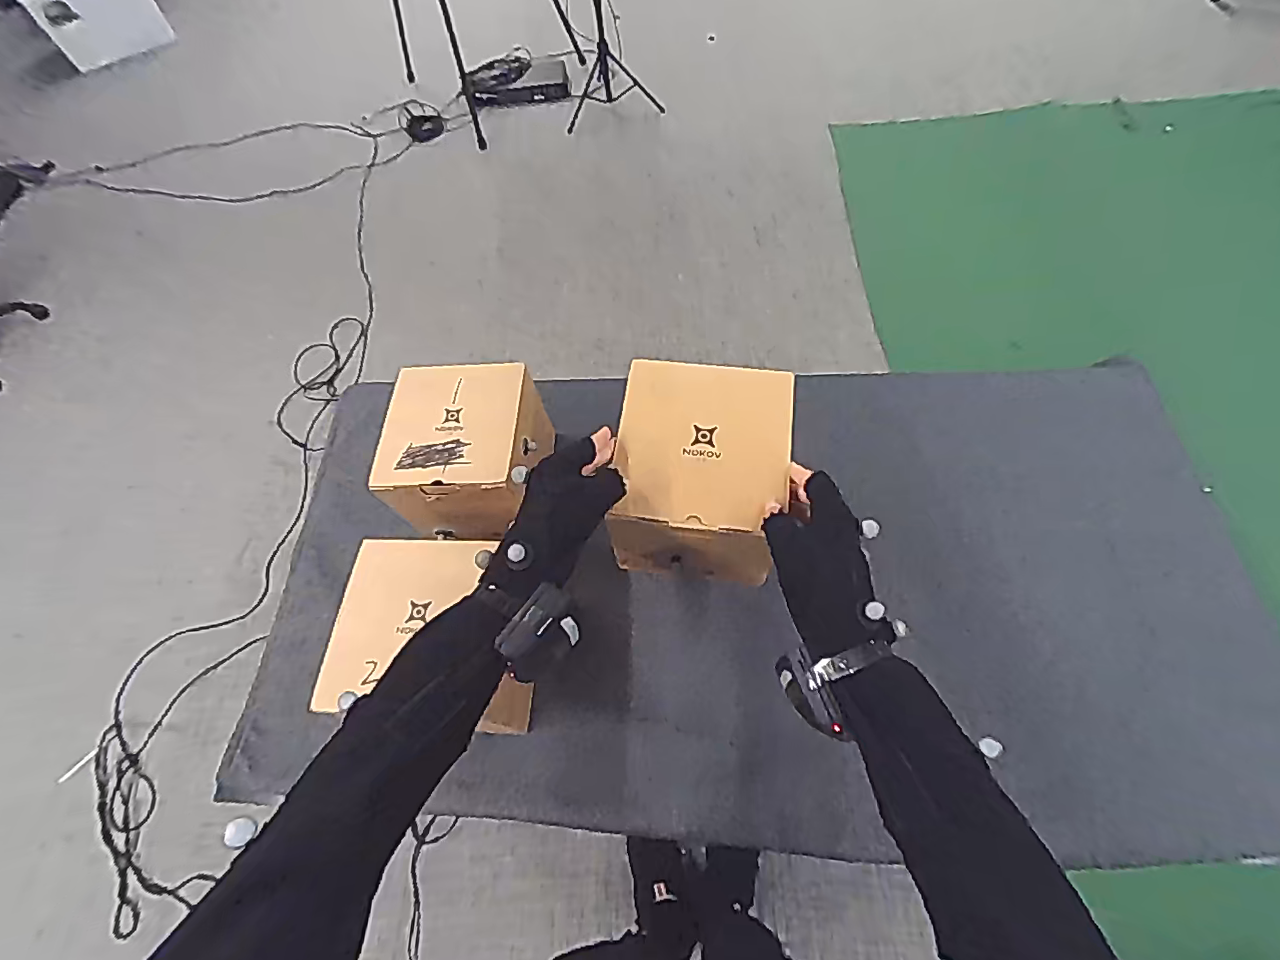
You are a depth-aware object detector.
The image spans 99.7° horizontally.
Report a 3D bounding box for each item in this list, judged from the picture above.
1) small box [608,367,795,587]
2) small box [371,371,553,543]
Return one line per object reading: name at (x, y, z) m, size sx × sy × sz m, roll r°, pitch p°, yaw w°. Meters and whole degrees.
small box at (0.066, 0.003, 0.588) m, size 0.168 × 0.176 × 0.179 m, roll 6°, pitch 66°, yaw 6°
small box at (-0.218, -0.022, 0.717) m, size 0.168 × 0.176 × 0.179 m, roll -1°, pitch 61°, yaw 4°
